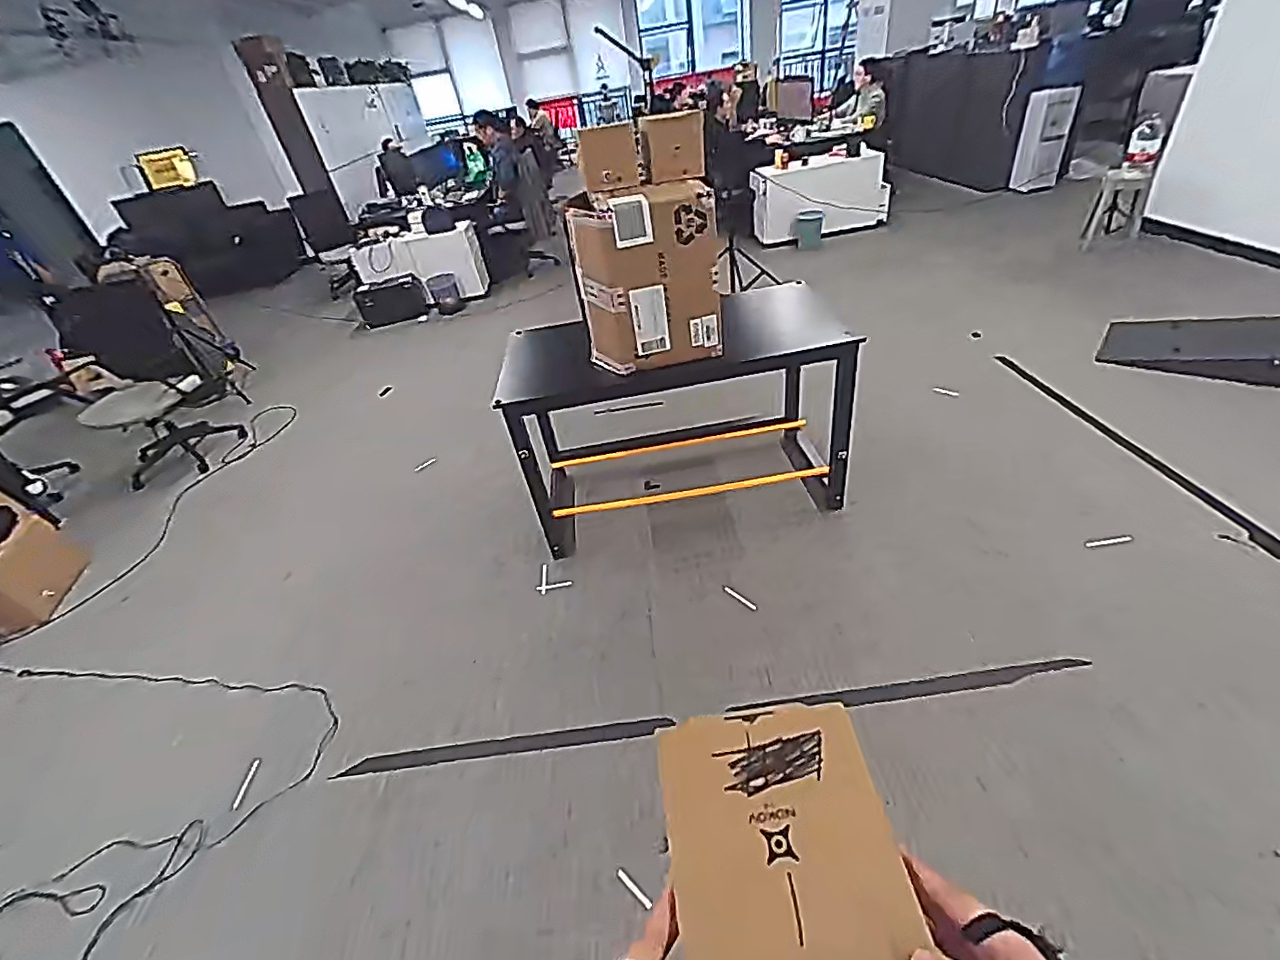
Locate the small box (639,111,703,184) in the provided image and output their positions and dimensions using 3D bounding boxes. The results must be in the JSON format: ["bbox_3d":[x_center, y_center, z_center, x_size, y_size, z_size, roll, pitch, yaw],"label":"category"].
[{"bbox_3d":[0.097,-1.029,1.675,0.168,0.176,0.179,-10,37,-4],"label":"small box"}]

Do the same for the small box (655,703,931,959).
[{"bbox_3d":[0.106,0.320,0.460,0.168,0.176,0.179,-8,43,0],"label":"small box"}]

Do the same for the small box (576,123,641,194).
[{"bbox_3d":[-0.099,-0.993,1.672,0.168,0.176,0.179,-13,35,-4],"label":"small box"}]
